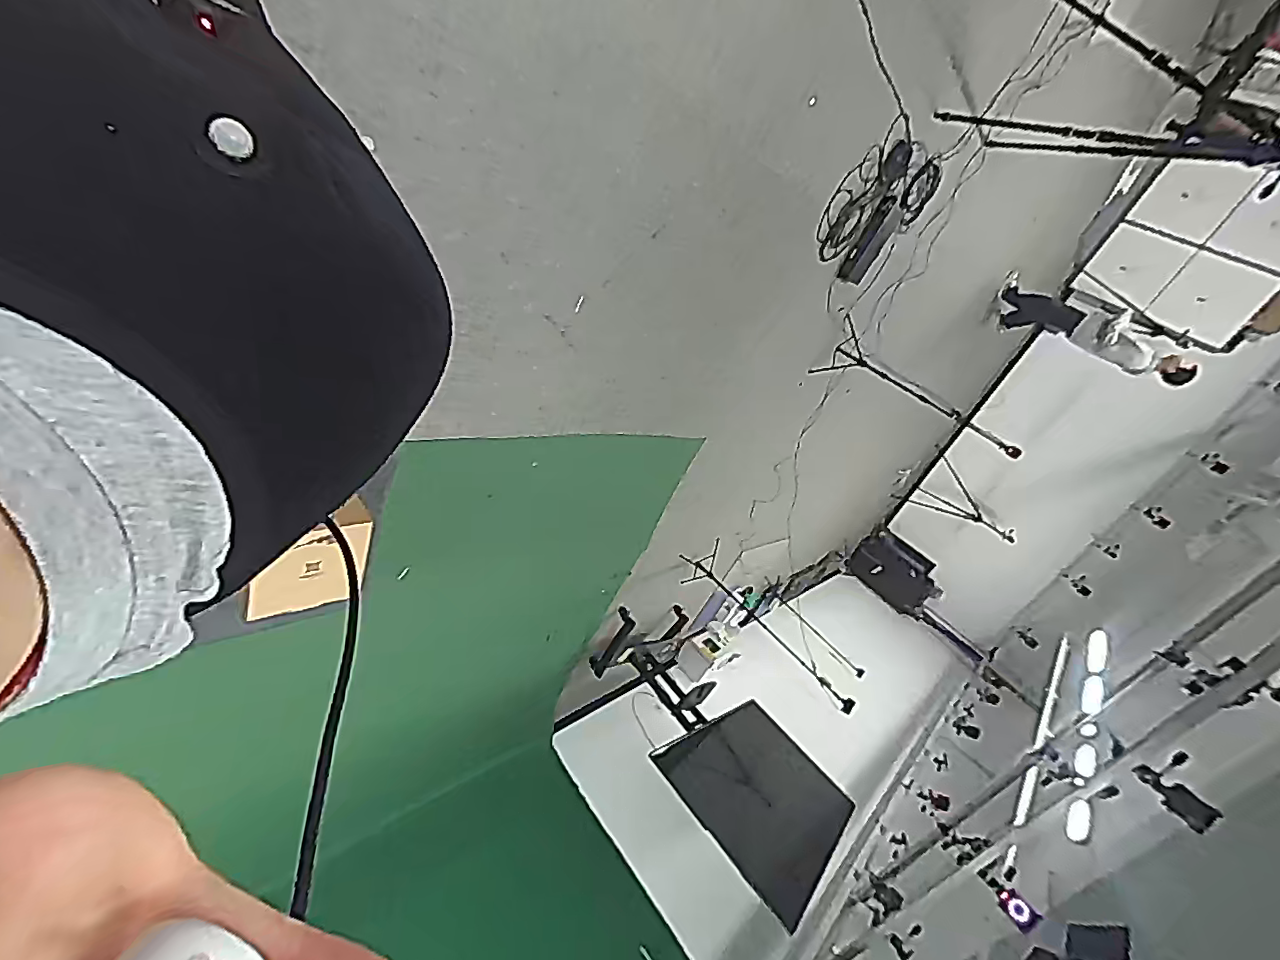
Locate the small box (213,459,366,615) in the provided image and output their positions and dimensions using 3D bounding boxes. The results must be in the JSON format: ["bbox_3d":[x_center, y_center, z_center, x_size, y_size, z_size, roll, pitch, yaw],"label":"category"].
[{"bbox_3d":[-0.583,0.086,0.895,0.168,0.176,0.179,-11,137,-48],"label":"small box"}]
